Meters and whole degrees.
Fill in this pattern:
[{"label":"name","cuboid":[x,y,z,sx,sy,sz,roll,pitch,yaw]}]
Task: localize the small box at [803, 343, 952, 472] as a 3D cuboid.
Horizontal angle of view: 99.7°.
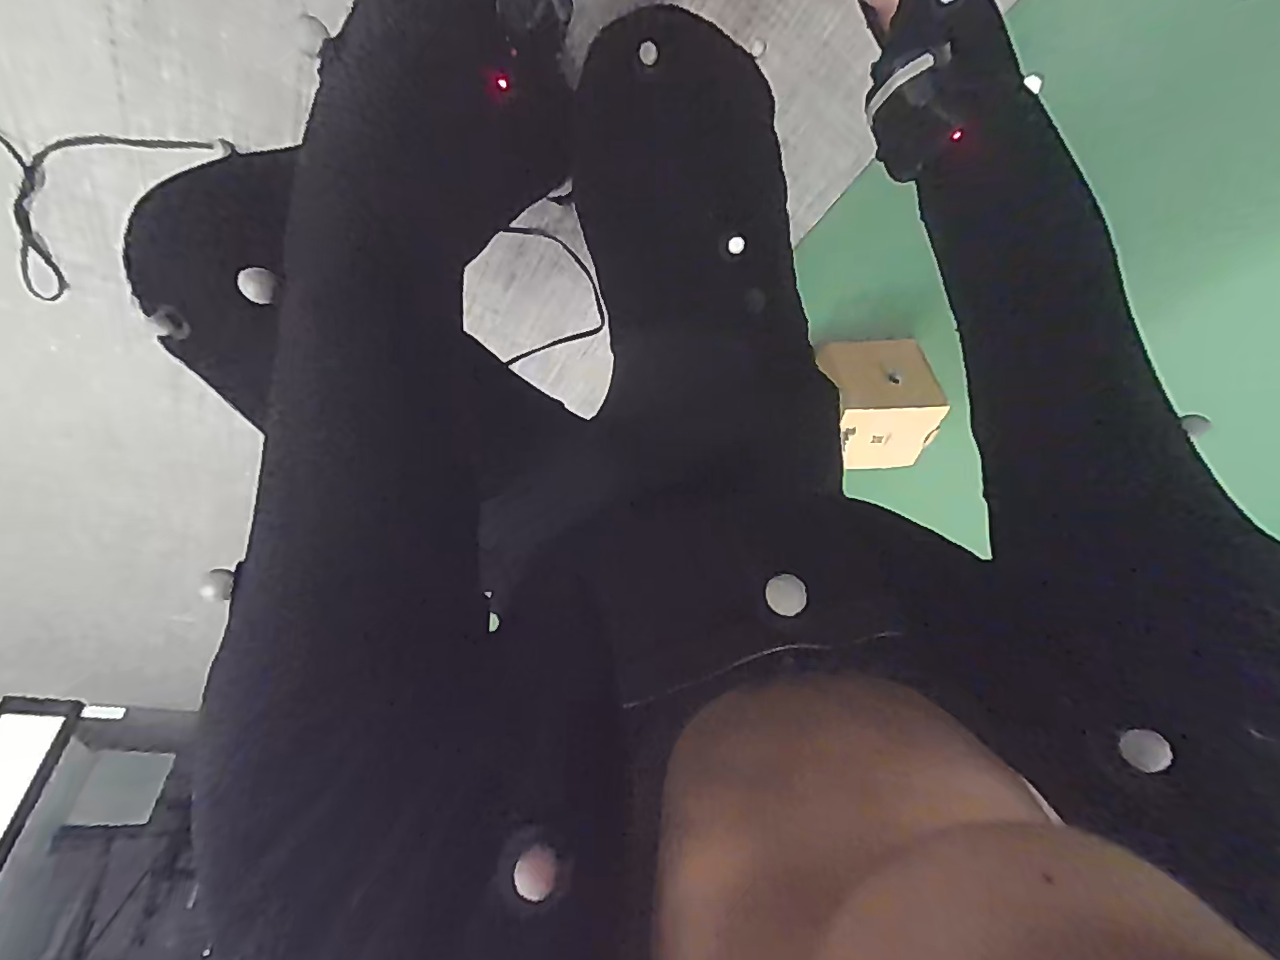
[{"label":"small box","cuboid":[0.416,-0.132,0.982,0.179,0.176,0.168,-3,144,-1]}]
